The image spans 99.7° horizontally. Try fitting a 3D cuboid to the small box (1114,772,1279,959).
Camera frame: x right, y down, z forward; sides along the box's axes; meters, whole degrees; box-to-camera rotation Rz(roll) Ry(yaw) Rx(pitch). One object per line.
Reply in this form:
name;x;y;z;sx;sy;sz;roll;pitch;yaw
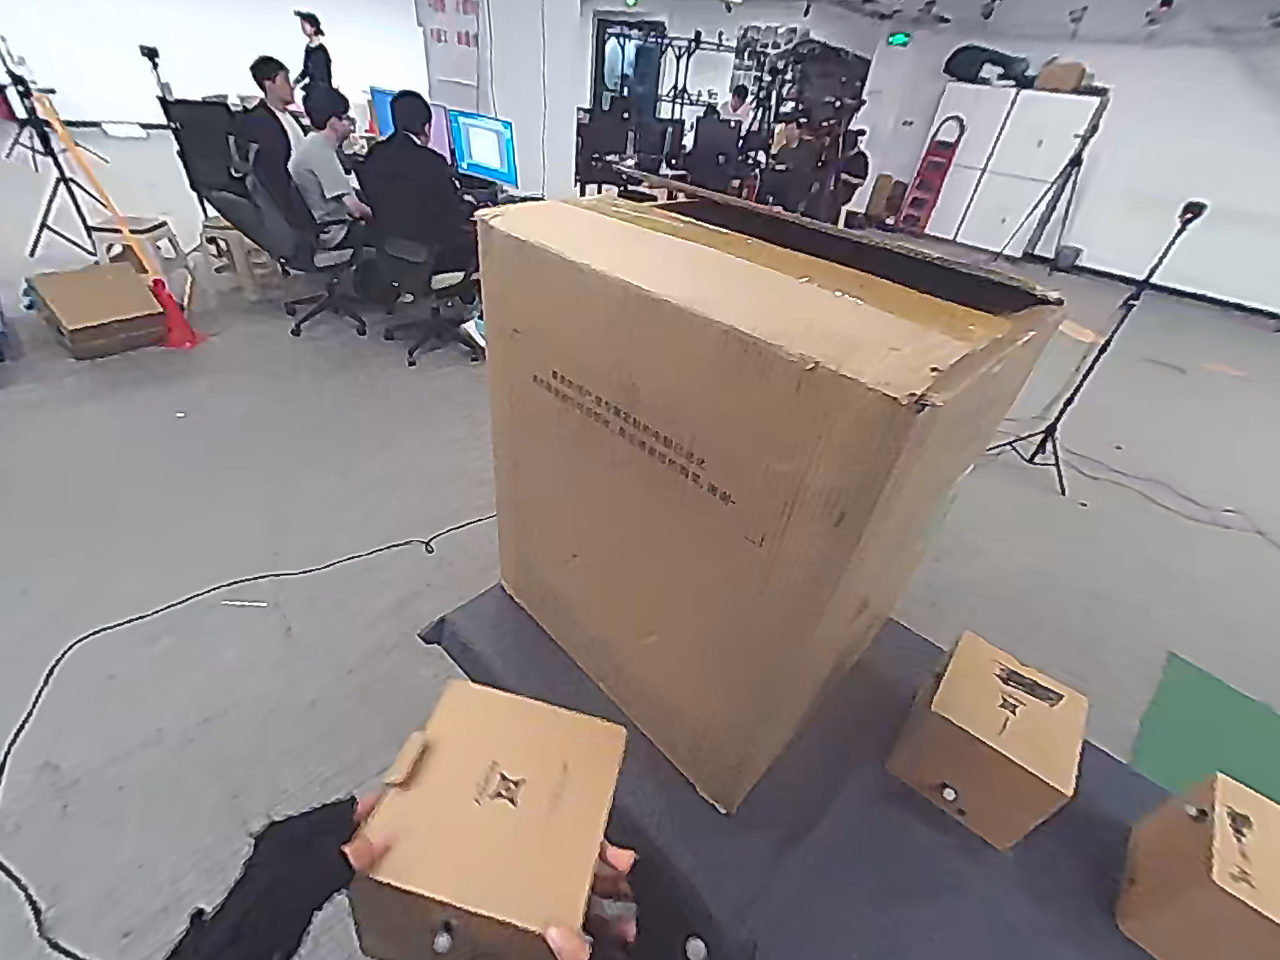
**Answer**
small box;0.715;0.496;0.629;0.179;0.176;0.168;33;44;31
